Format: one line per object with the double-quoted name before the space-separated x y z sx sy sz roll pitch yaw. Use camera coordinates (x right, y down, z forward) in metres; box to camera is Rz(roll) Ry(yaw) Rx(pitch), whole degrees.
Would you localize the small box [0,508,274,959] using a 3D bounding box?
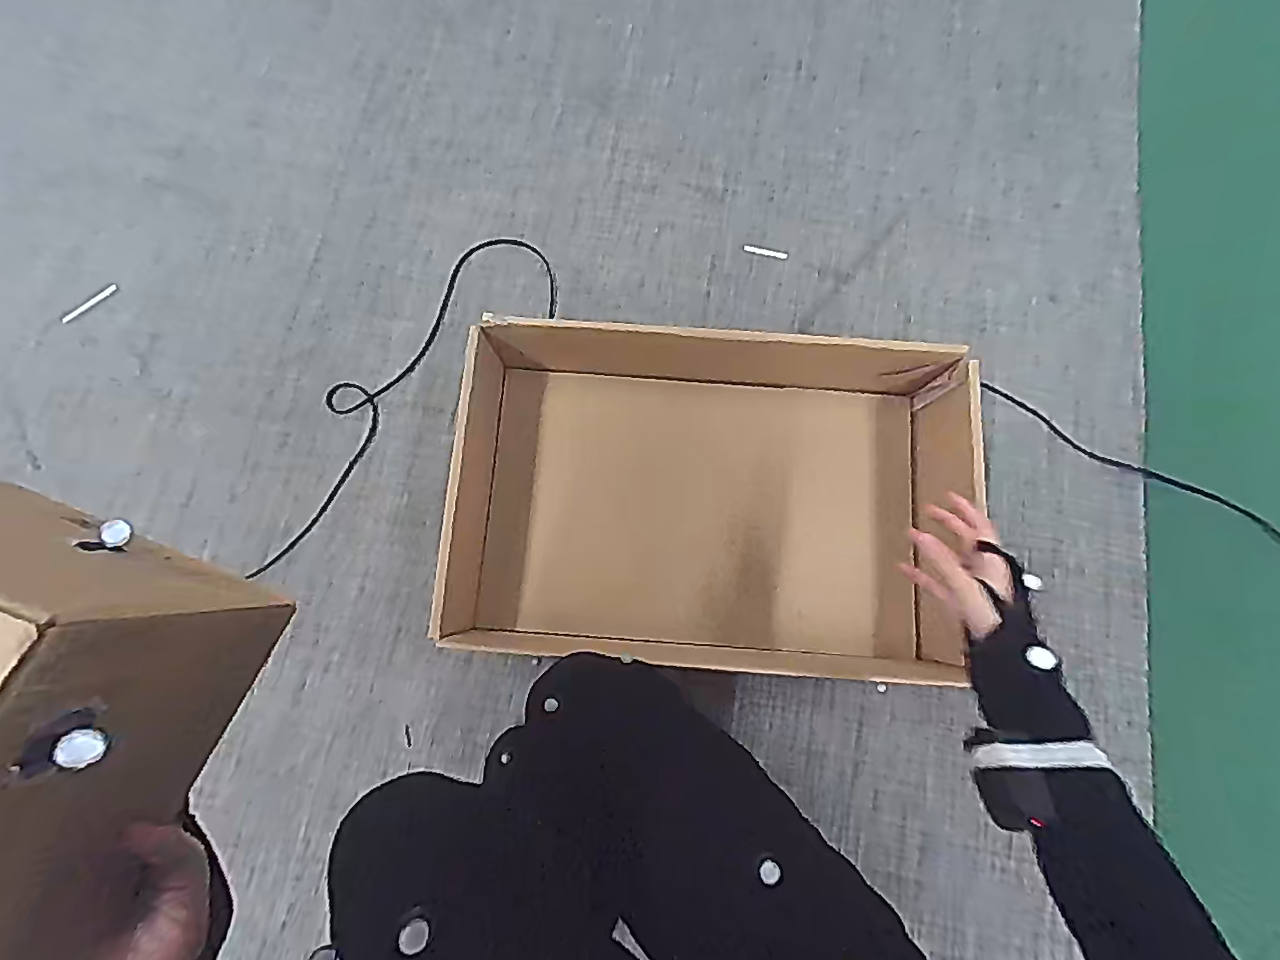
"small box" -0.285 0.108 0.200 0.168 0.176 0.179 25 74 -5
